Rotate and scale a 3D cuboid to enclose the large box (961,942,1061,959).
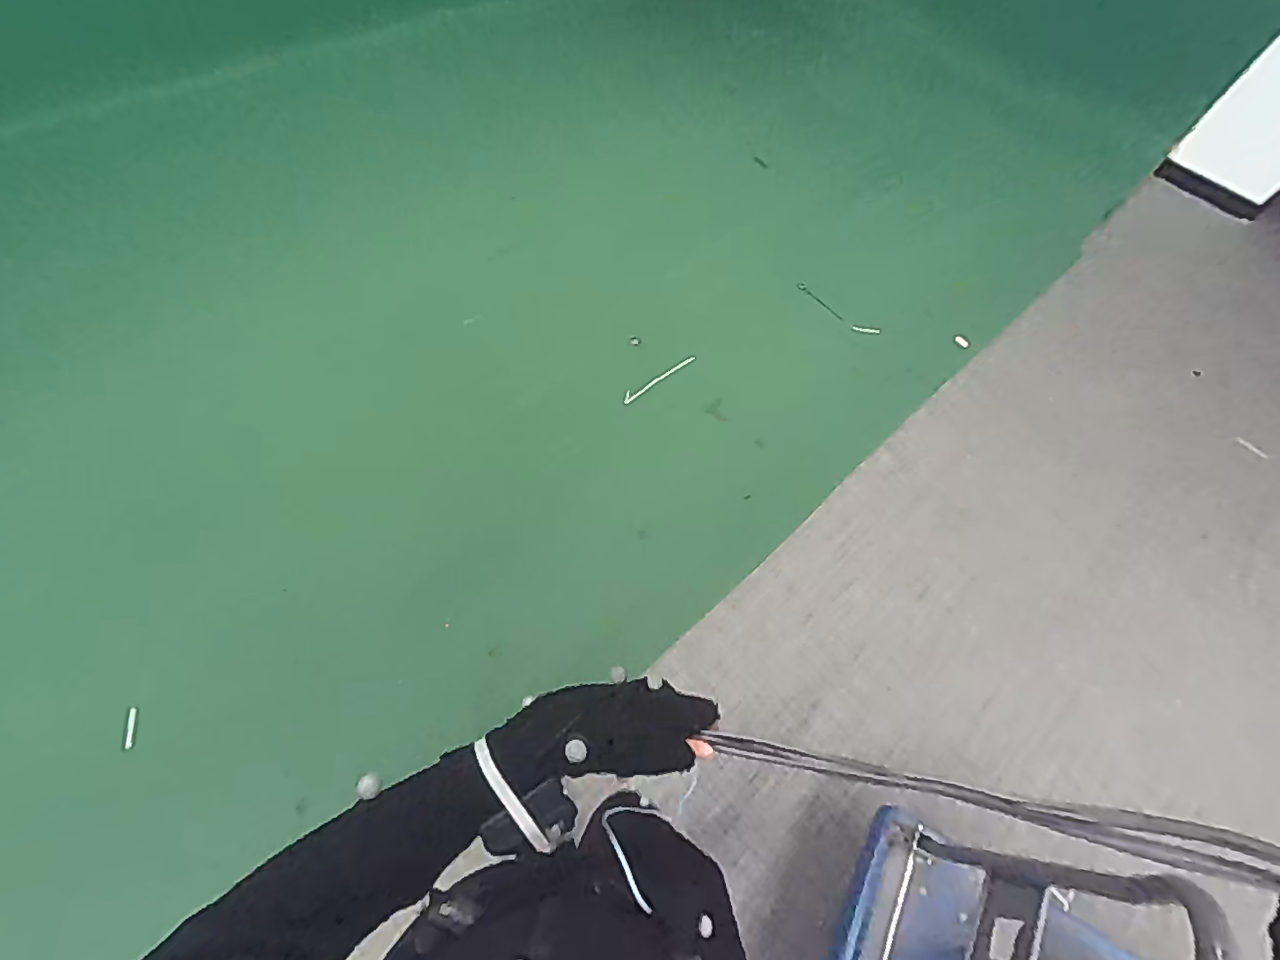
[{"bbox_3d":[0.735,0.999,0.798,0.320,0.320,0.408,10,61,0],"label":"large box"}]
